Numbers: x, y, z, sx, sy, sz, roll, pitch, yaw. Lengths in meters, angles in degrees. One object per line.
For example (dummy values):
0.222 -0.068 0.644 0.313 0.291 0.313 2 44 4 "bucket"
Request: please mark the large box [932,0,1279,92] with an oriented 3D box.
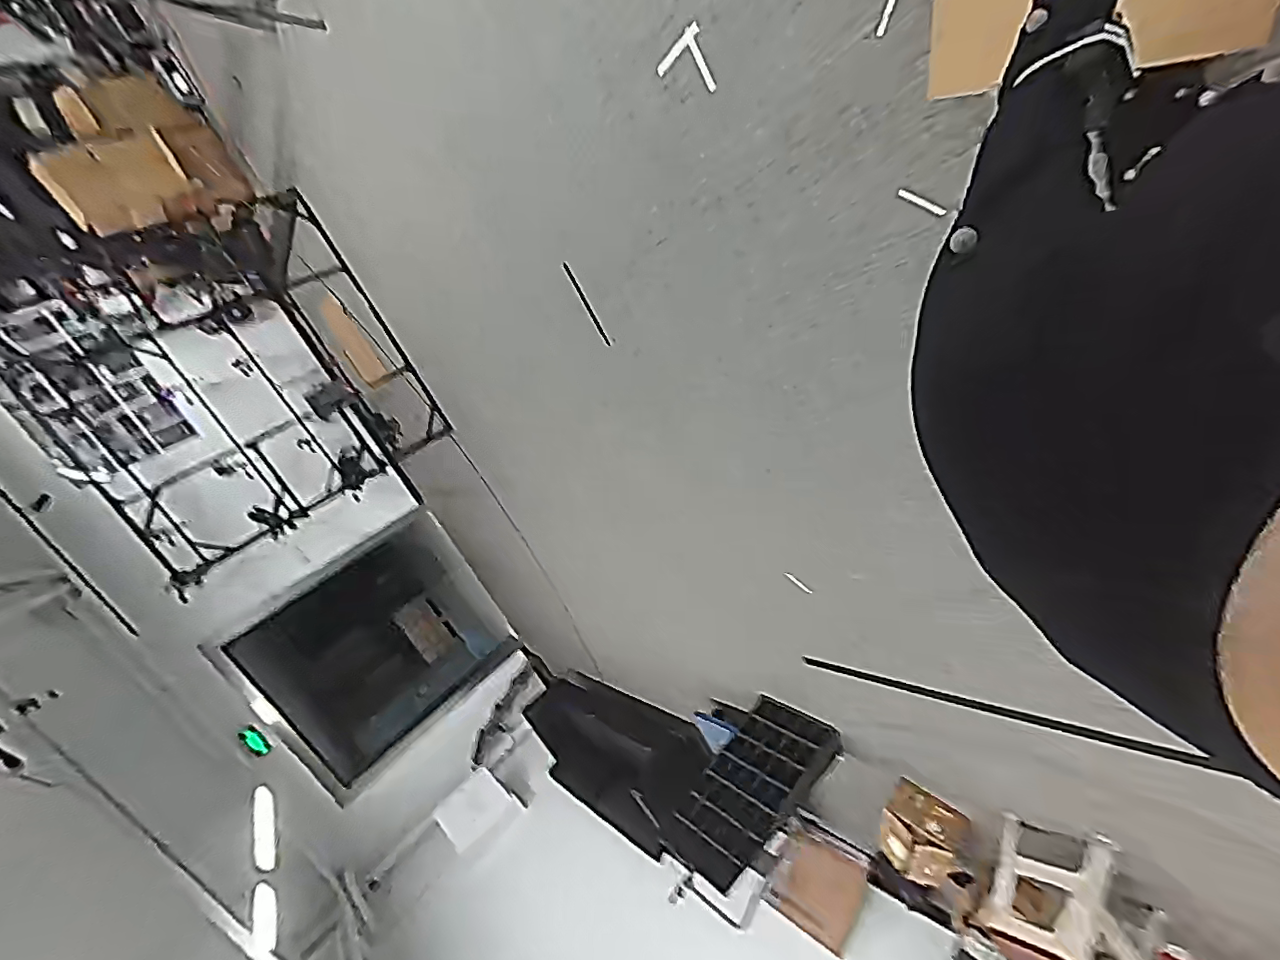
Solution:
0.710 -0.814 0.797 0.408 0.320 0.320 21 138 39 "large box"
